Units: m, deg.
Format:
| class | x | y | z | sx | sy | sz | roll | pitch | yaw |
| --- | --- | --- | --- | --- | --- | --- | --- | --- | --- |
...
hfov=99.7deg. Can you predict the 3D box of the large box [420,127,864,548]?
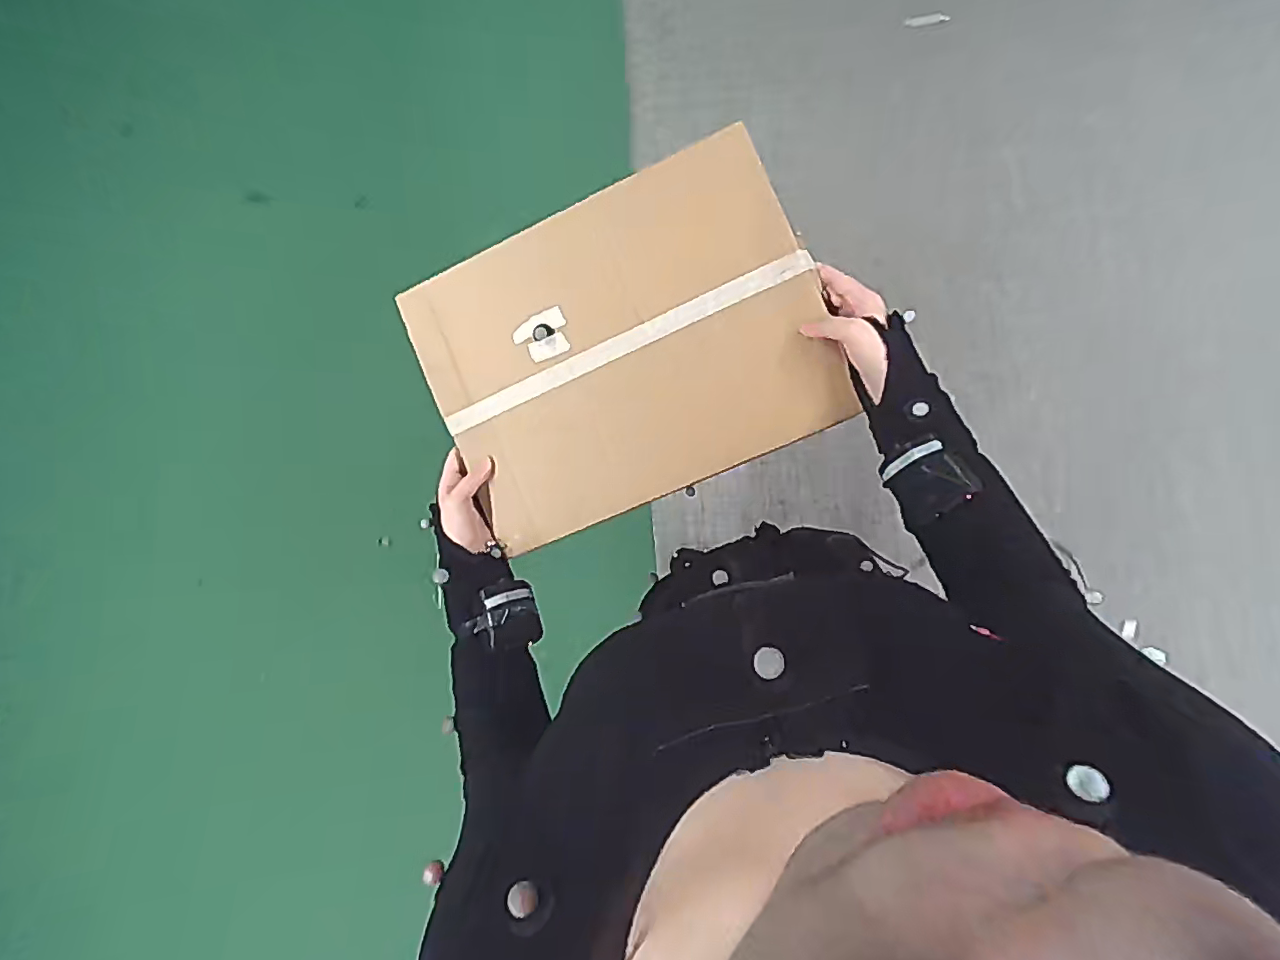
| class | x | y | z | sx | sy | sz | roll | pitch | yaw |
| --- | --- | --- | --- | --- | --- | --- | --- | --- | --- |
| large box | 0.013 | -0.147 | 0.715 | 0.408 | 0.320 | 0.320 | -22 | 88 | 10 |
